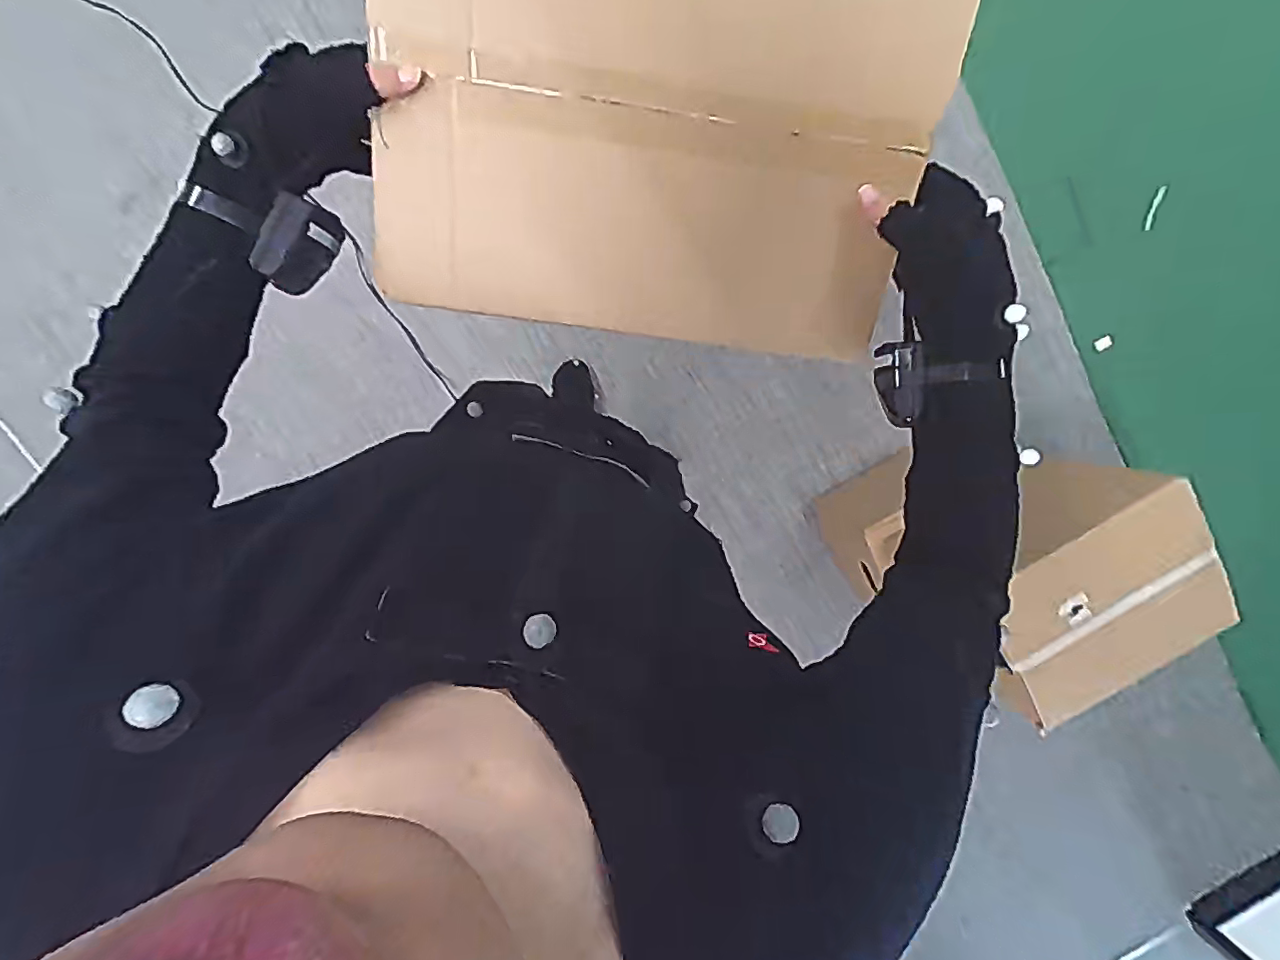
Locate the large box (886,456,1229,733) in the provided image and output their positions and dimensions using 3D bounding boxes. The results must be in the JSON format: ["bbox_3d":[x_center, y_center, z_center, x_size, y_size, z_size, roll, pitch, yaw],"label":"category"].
[{"bbox_3d":[0.797,0.199,1.080,0.408,0.320,0.320,-30,102,1],"label":"large box"}]
